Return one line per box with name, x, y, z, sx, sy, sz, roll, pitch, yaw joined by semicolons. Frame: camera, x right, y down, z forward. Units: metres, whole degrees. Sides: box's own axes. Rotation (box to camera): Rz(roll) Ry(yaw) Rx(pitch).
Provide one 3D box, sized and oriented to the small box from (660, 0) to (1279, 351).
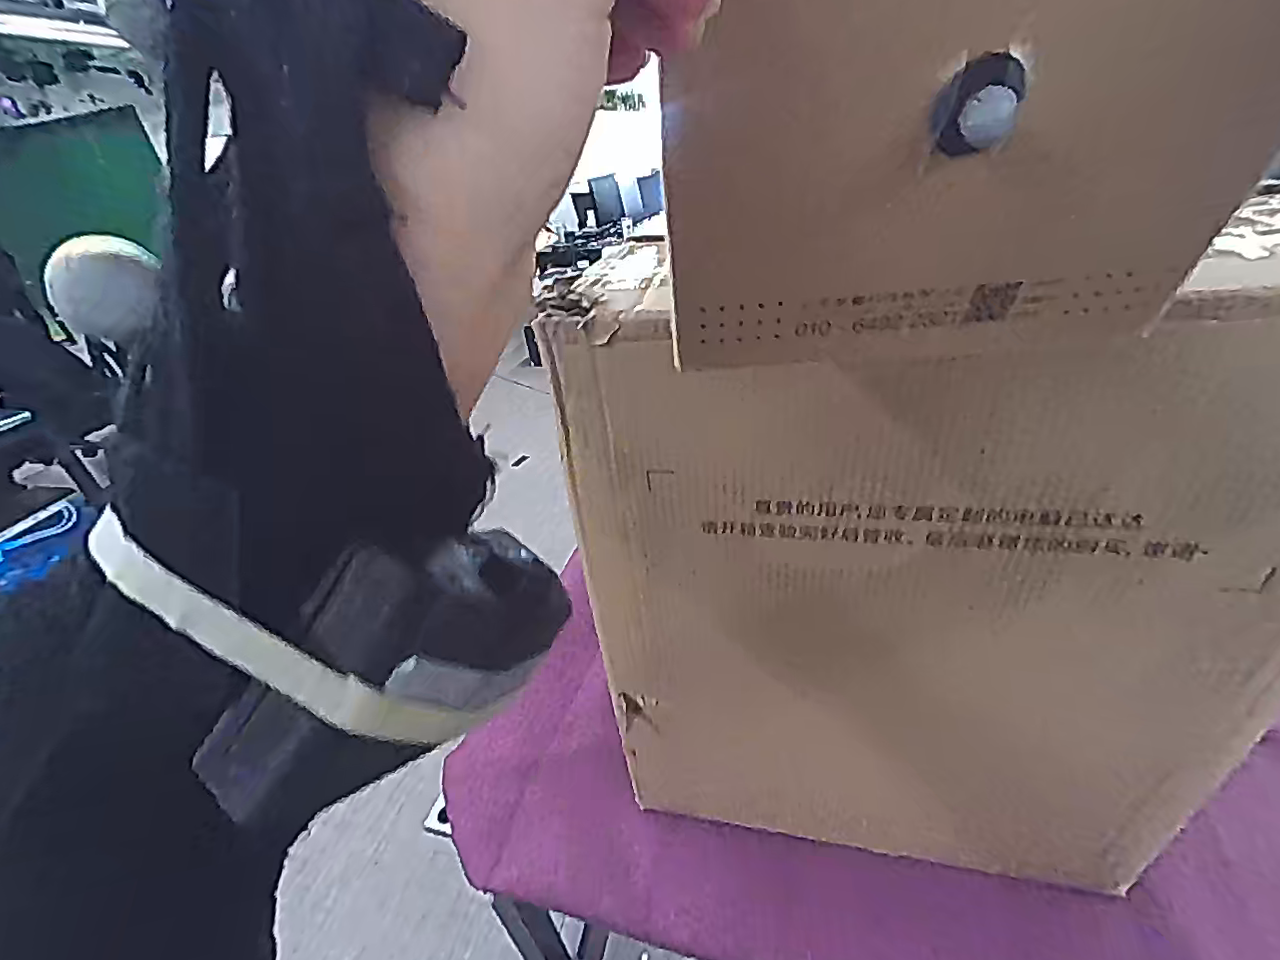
small box;0.091;-0.160;0.191;0.168;0.176;0.179;-3;51;3
